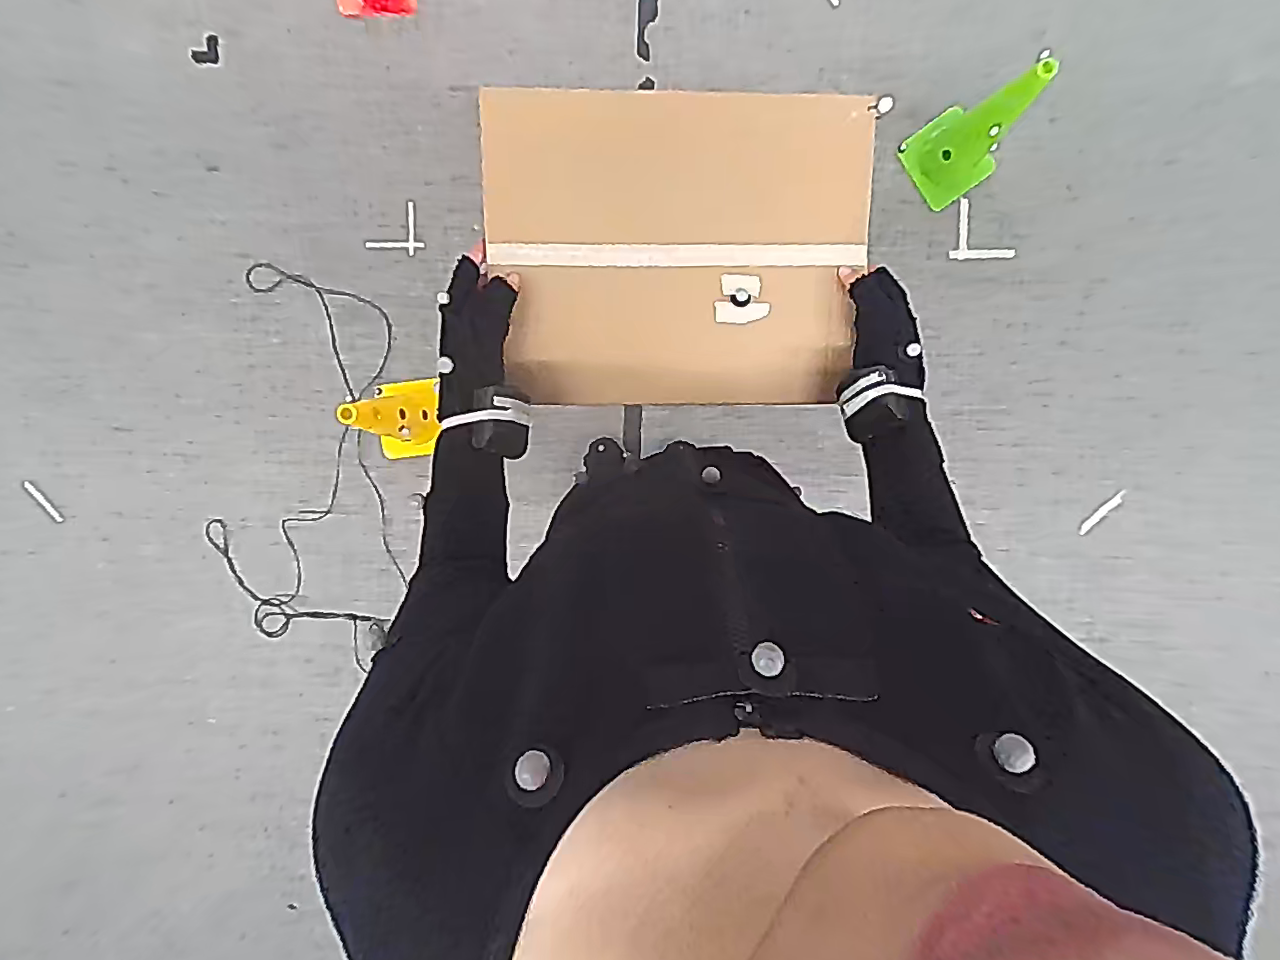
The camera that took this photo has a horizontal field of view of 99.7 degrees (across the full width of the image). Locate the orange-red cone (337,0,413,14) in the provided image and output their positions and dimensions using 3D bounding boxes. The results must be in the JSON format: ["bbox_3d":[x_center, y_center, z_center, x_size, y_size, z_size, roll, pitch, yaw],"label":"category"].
[{"bbox_3d":[-0.673,-1.262,1.191,0.198,0.360,0.199,-1,96,0],"label":"orange-red cone"}]

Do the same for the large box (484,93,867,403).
[{"bbox_3d":[0.032,-0.269,0.726,0.408,0.320,0.320,-1,101,-3],"label":"large box"}]

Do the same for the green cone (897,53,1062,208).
[{"bbox_3d":[0.802,-0.829,1.241,0.202,0.368,0.200,-36,95,1],"label":"green cone"}]
